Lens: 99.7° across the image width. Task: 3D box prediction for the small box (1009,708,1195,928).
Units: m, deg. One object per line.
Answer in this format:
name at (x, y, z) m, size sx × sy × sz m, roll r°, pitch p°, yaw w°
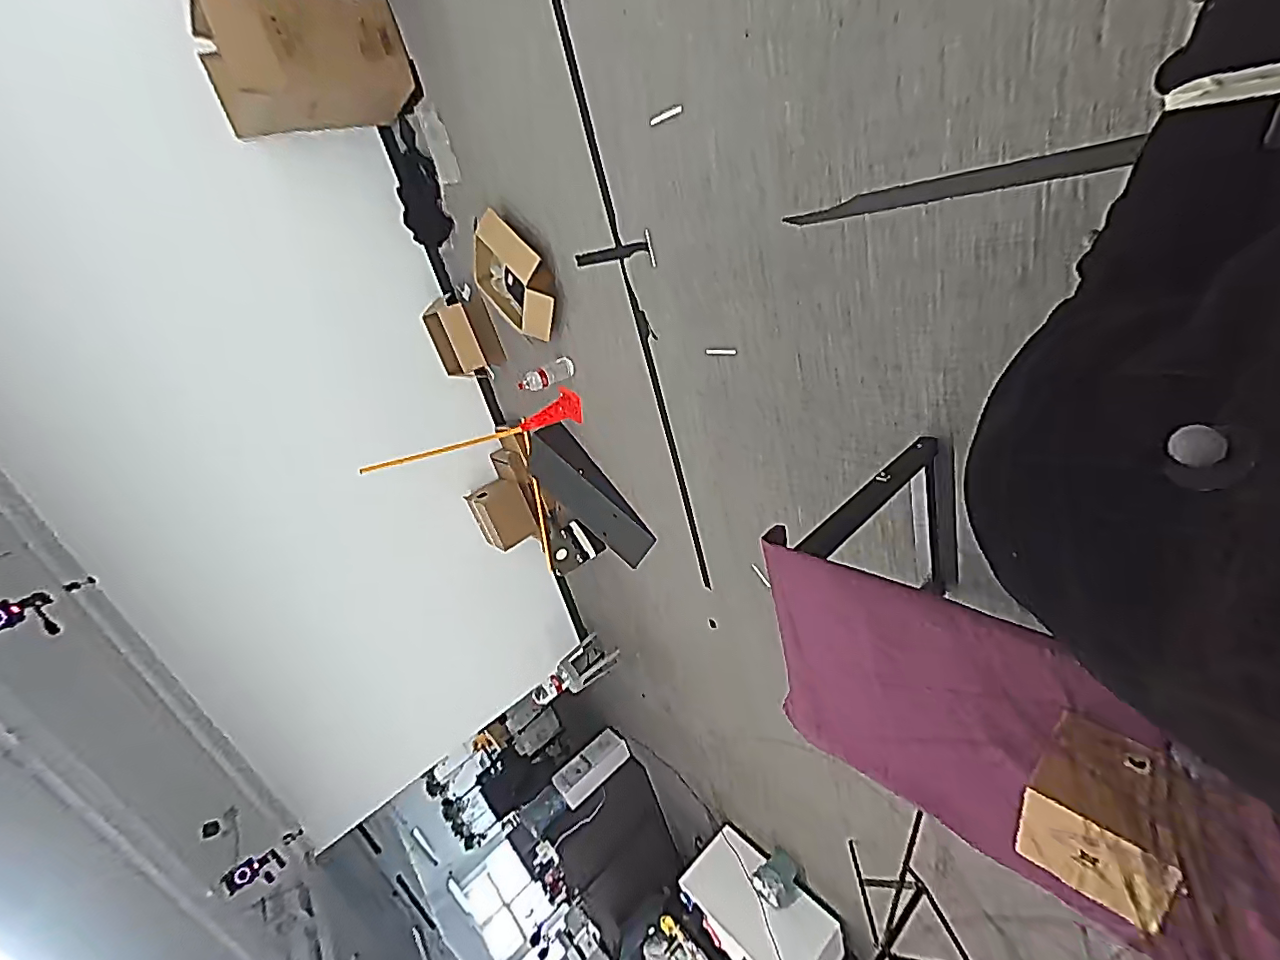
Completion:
small box at (0.674, 0.483, 0.795) m, size 0.168 × 0.176 × 0.179 m, roll 18°, pitch 131°, yaw 46°
